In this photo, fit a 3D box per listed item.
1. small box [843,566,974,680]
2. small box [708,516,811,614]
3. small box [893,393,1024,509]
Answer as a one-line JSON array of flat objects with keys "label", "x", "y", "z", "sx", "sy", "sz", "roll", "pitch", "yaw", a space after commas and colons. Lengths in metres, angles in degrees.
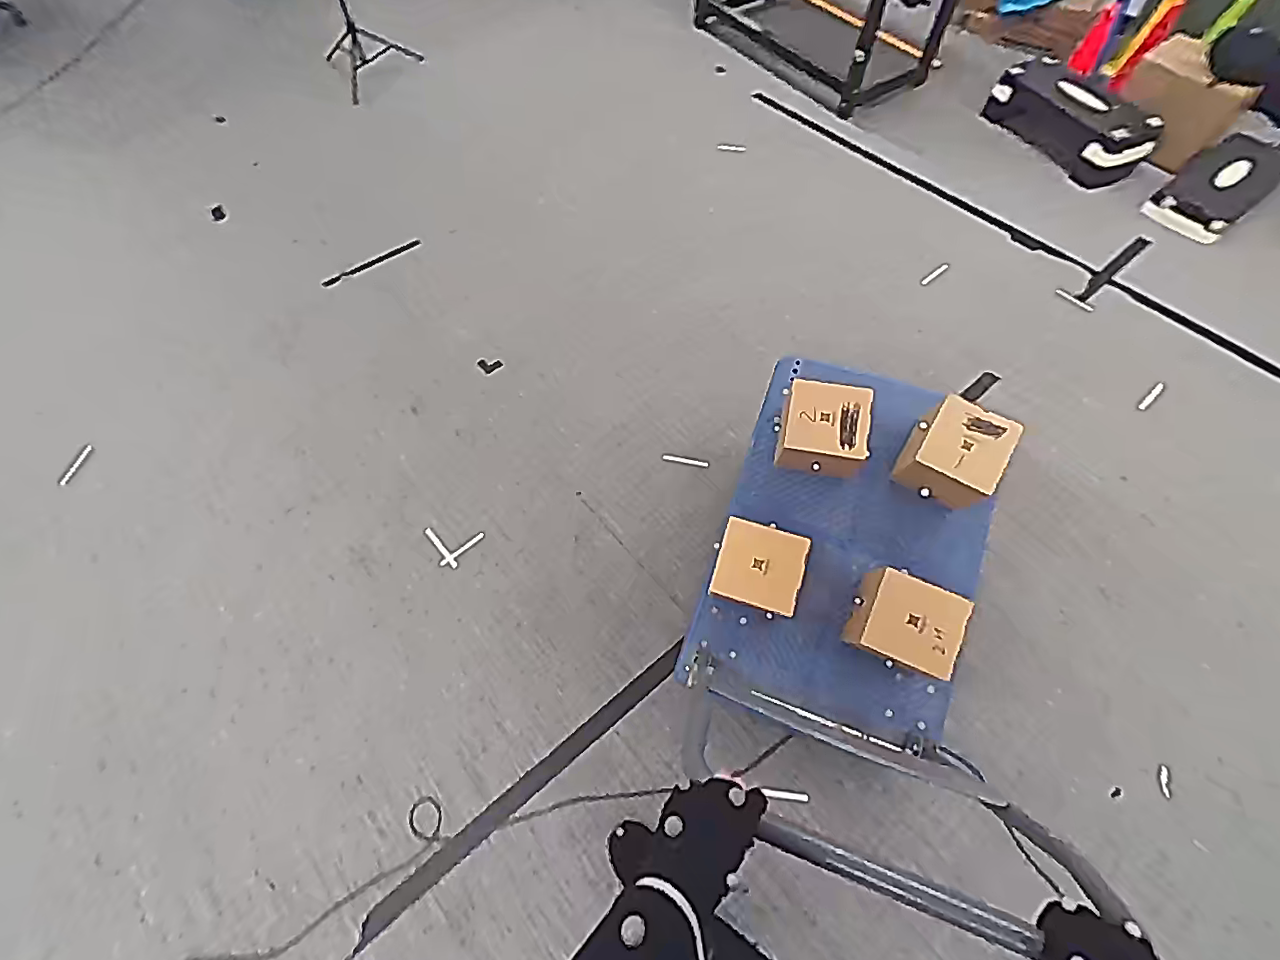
[{"label": "small box", "x": 0.549, "y": 0.298, "z": 1.133, "sx": 0.179, "sy": 0.176, "sz": 0.168, "roll": 23, "pitch": 80, "yaw": 11}, {"label": "small box", "x": 0.255, "y": 0.193, "z": 1.191, "sx": 0.179, "sy": 0.176, "sz": 0.168, "roll": 16, "pitch": 78, "yaw": 8}, {"label": "small box", "x": 0.699, "y": -0.058, "z": 1.209, "sx": 0.168, "sy": 0.176, "sz": 0.179, "roll": 29, "pitch": 81, "yaw": 12}]
